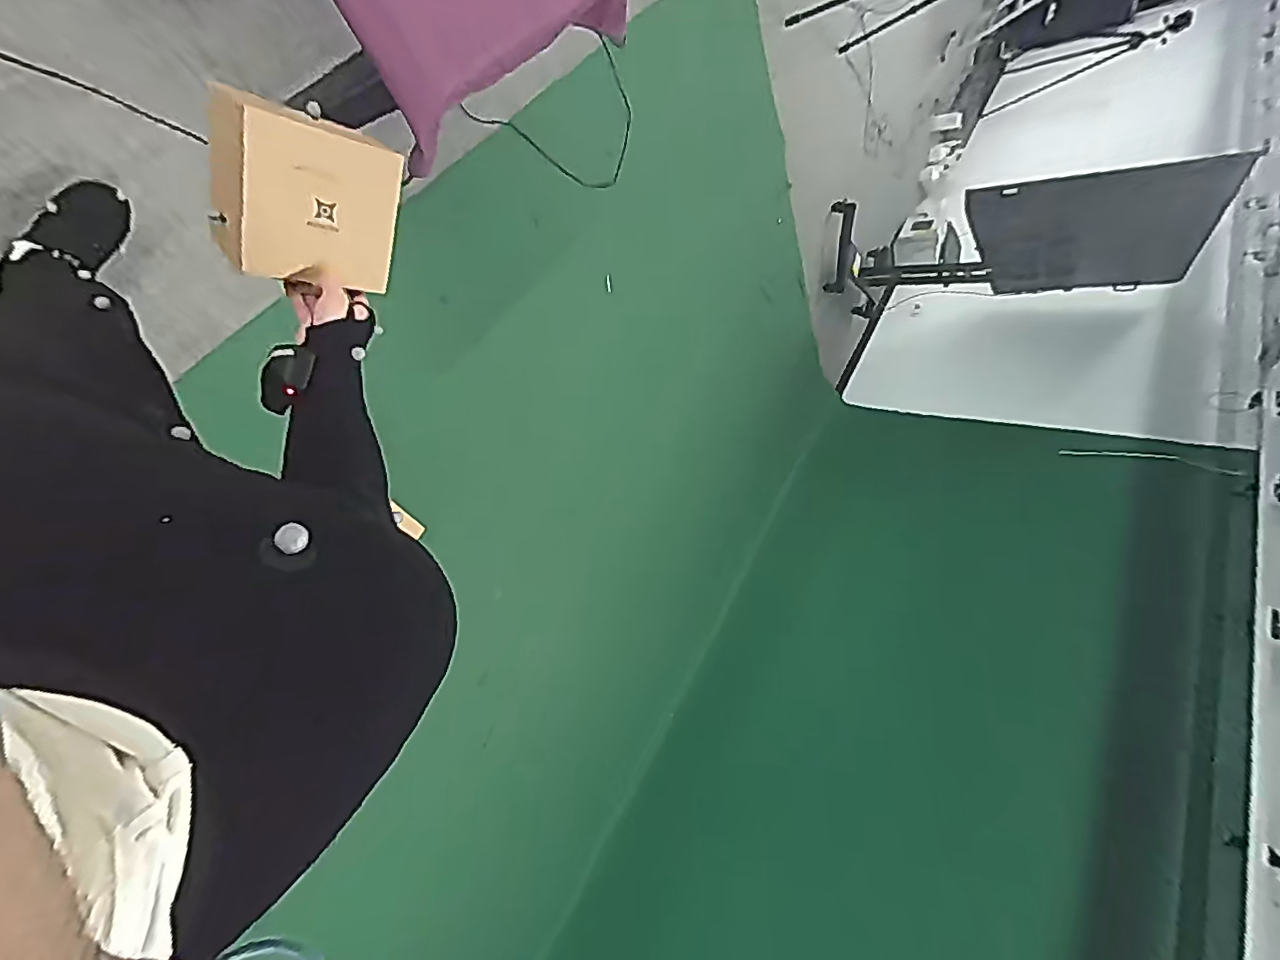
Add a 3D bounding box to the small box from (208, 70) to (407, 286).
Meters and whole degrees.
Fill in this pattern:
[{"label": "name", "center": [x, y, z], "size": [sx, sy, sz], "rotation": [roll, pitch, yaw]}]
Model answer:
[{"label": "small box", "center": [-0.417, -0.369, 0.673], "size": [0.168, 0.176, 0.179], "rotation": [-10, 131, -46]}]
